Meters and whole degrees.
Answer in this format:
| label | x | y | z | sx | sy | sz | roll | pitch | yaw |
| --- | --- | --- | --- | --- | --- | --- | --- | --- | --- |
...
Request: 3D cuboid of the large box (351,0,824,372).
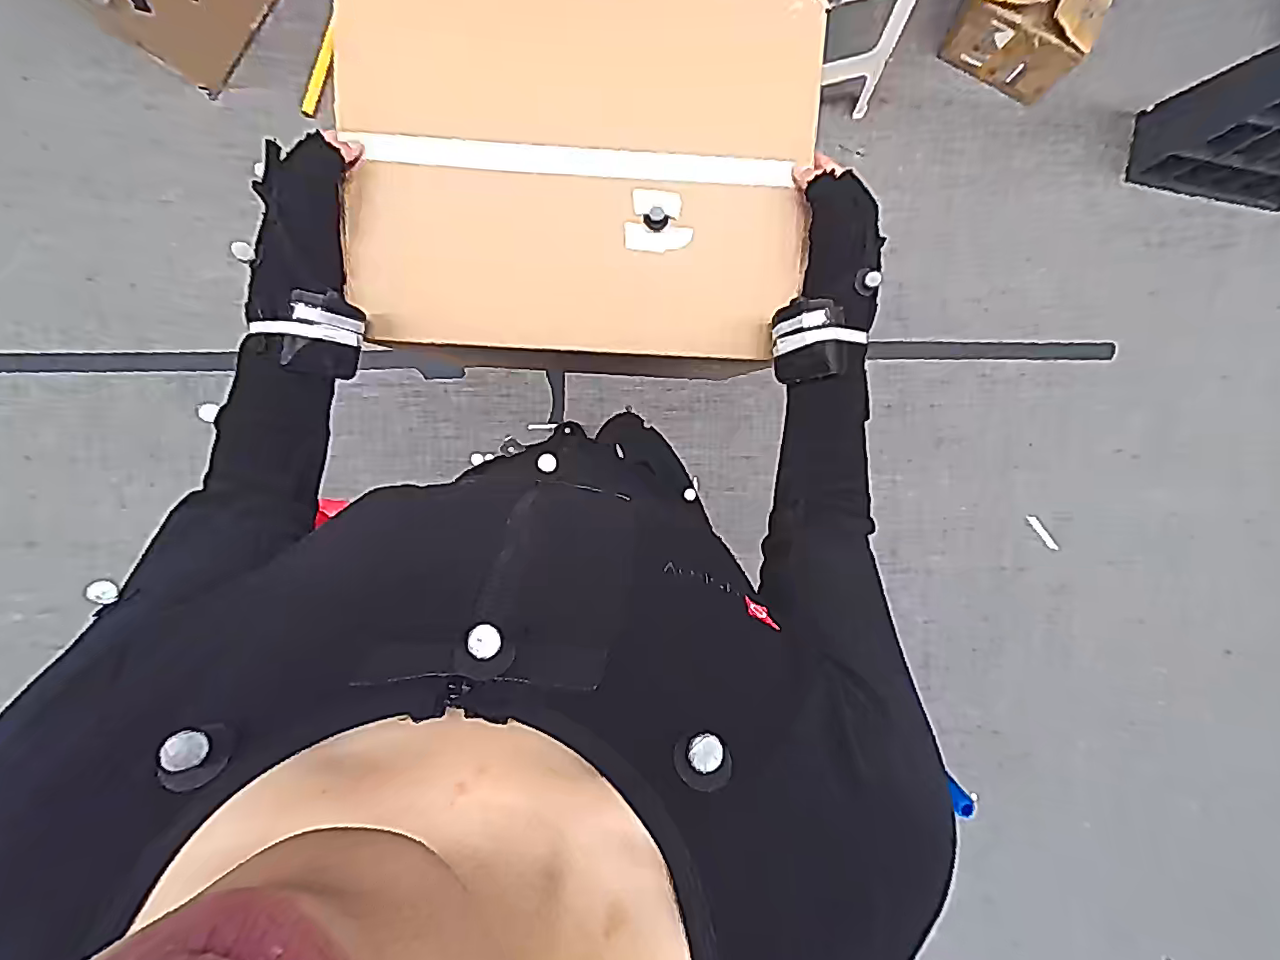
| label | x | y | z | sx | sy | sz | roll | pitch | yaw |
| --- | --- | --- | --- | --- | --- | --- | --- | --- | --- |
| large box | -0.054 | -0.296 | 0.617 | 0.408 | 0.320 | 0.320 | 2 | 98 | -4 |
